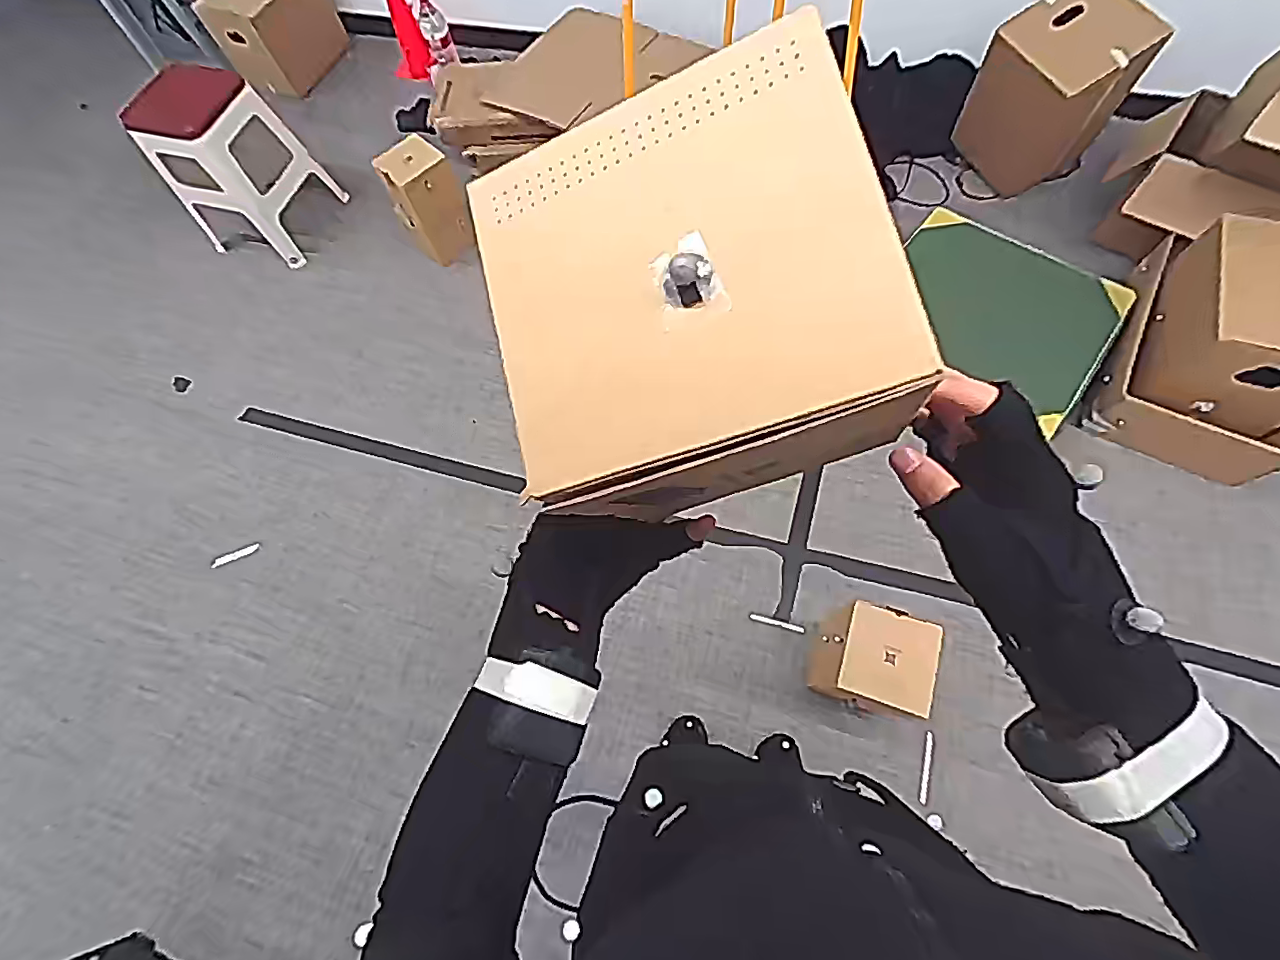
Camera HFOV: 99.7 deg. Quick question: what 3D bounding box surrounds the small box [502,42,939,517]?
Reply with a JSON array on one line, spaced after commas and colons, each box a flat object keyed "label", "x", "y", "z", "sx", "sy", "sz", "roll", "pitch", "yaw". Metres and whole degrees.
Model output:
[{"label": "small box", "x": 0.038, "y": -0.084, "z": 0.313, "sx": 0.179, "sy": 0.168, "sz": 0.176, "roll": -18, "pitch": 80, "yaw": 16}]

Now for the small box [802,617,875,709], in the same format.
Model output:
[{"label": "small box", "x": 0.498, "y": 0.421, "z": 1.255, "sx": 0.179, "sy": 0.176, "sz": 0.168, "roll": 19, "pitch": 70, "yaw": 10}]

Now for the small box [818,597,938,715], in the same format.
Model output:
[{"label": "small box", "x": 0.477, "y": 0.361, "z": 1.105, "sx": 0.168, "sy": 0.176, "sz": 0.179, "roll": 17, "pitch": 71, "yaw": 12}]
